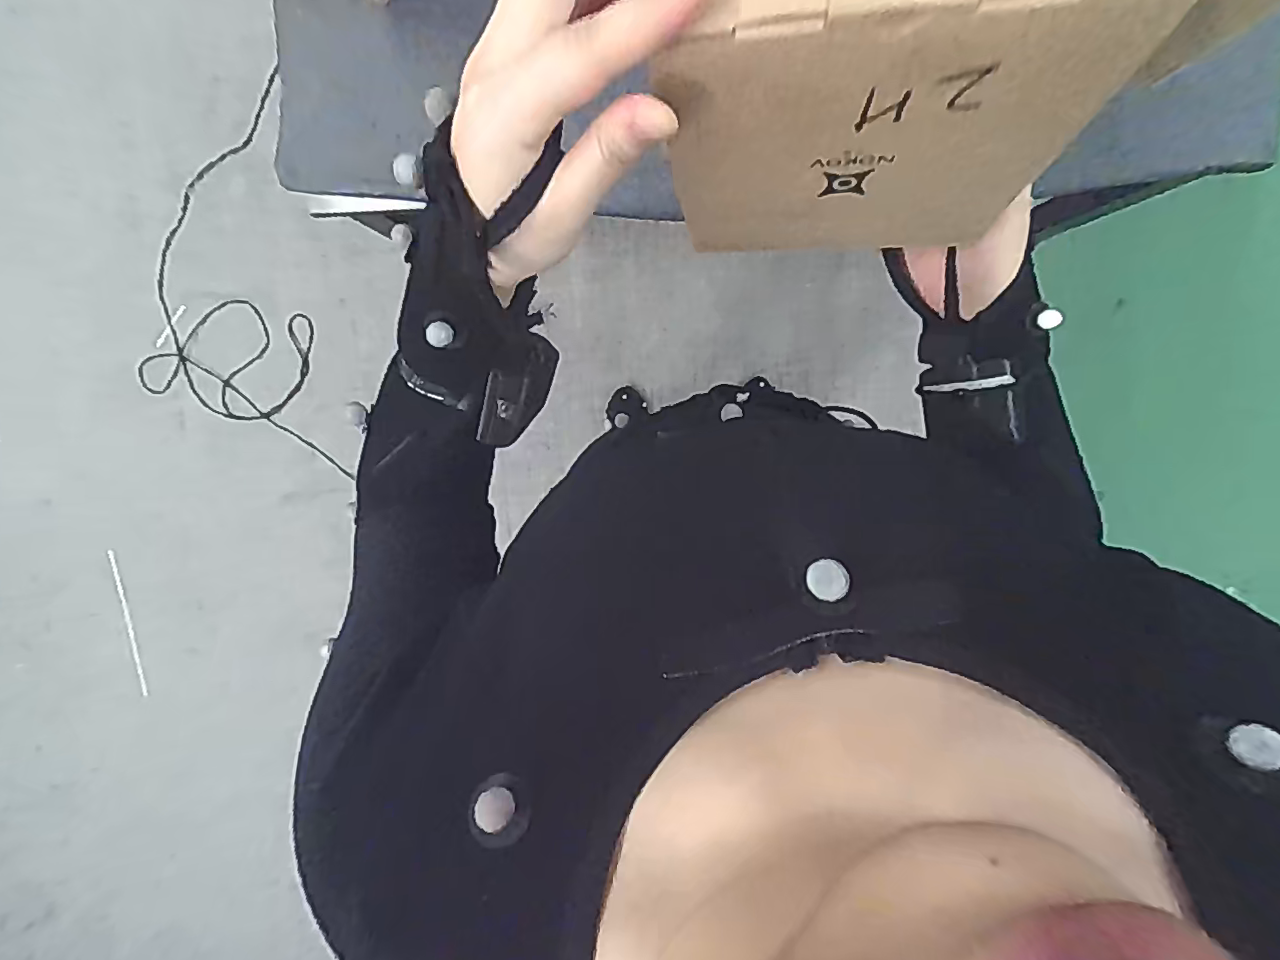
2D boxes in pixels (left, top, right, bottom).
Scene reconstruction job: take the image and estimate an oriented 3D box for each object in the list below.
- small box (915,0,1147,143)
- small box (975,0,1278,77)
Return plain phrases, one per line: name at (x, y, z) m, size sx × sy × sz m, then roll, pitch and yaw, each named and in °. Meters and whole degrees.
small box at (0.410, -0.486, 0.566) m, size 0.168 × 0.176 × 0.179 m, roll 0°, pitch 99°, yaw 3°
small box at (0.403, -0.447, 0.408) m, size 0.179 × 0.176 × 0.168 m, roll 11°, pitch 99°, yaw 2°
